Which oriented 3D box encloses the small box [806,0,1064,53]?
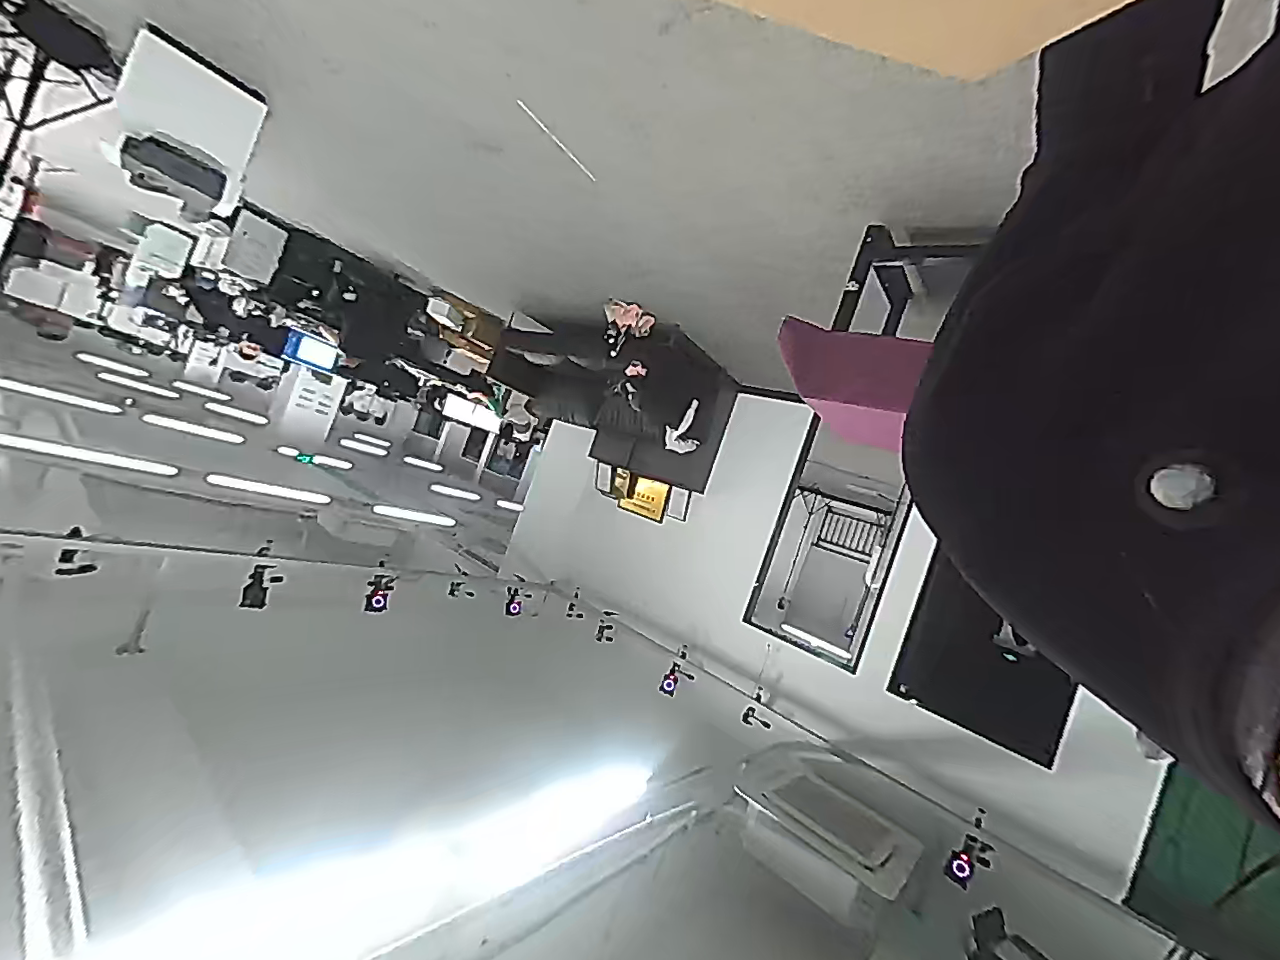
[{"bbox_3d":[0.101,-0.266,0.148,0.179,0.176,0.168,15,-157,-7],"label":"small box"}]
